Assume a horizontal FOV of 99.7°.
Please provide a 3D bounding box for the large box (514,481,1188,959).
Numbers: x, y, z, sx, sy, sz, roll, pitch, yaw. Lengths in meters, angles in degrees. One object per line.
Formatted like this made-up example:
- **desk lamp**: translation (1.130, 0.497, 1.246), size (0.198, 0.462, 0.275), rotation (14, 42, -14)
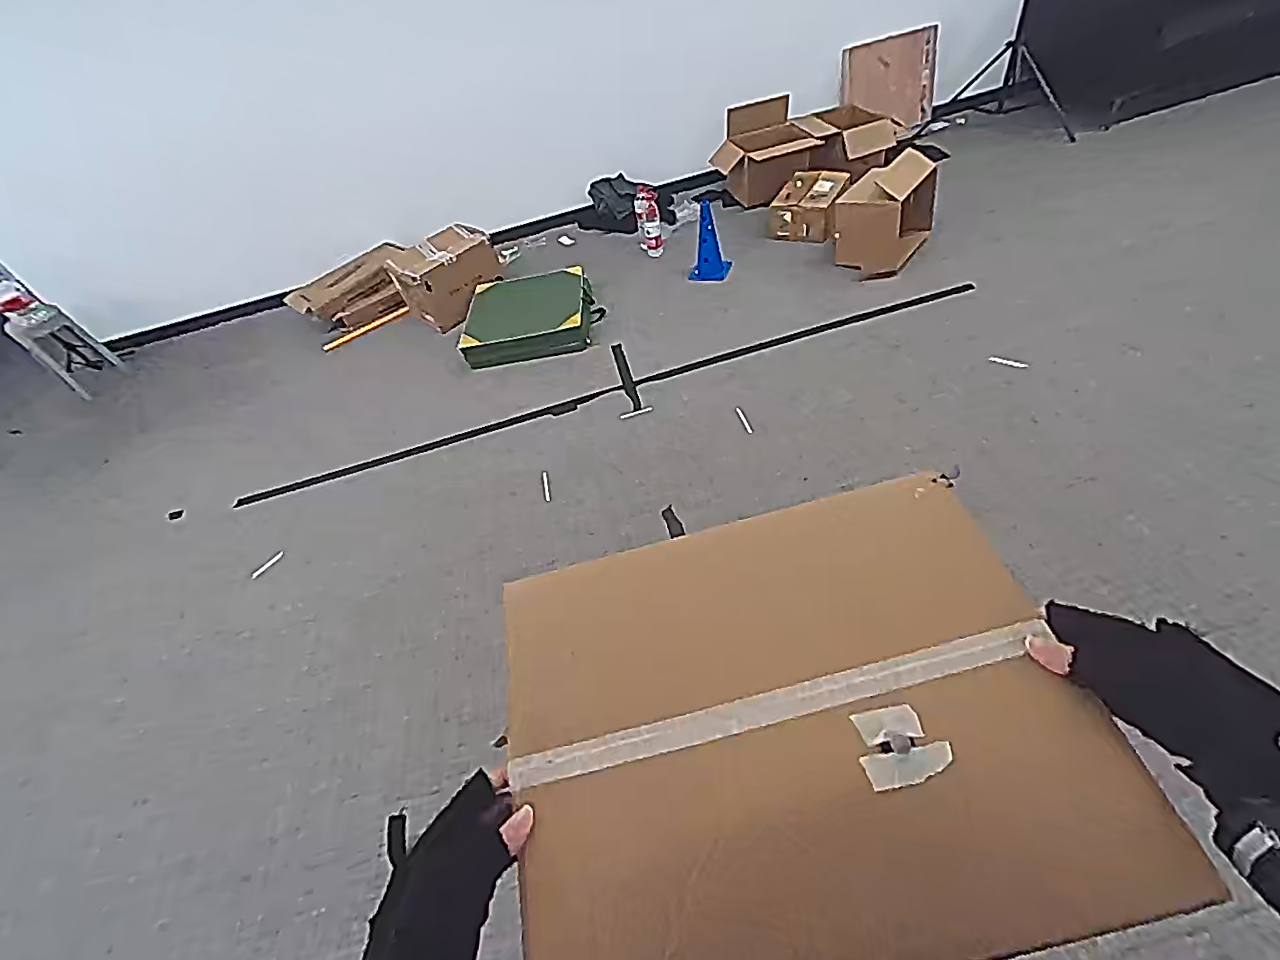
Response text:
- **large box**: translation (0.129, 0.257, 0.527), size (0.408, 0.320, 0.320), rotation (-15, 54, 0)
